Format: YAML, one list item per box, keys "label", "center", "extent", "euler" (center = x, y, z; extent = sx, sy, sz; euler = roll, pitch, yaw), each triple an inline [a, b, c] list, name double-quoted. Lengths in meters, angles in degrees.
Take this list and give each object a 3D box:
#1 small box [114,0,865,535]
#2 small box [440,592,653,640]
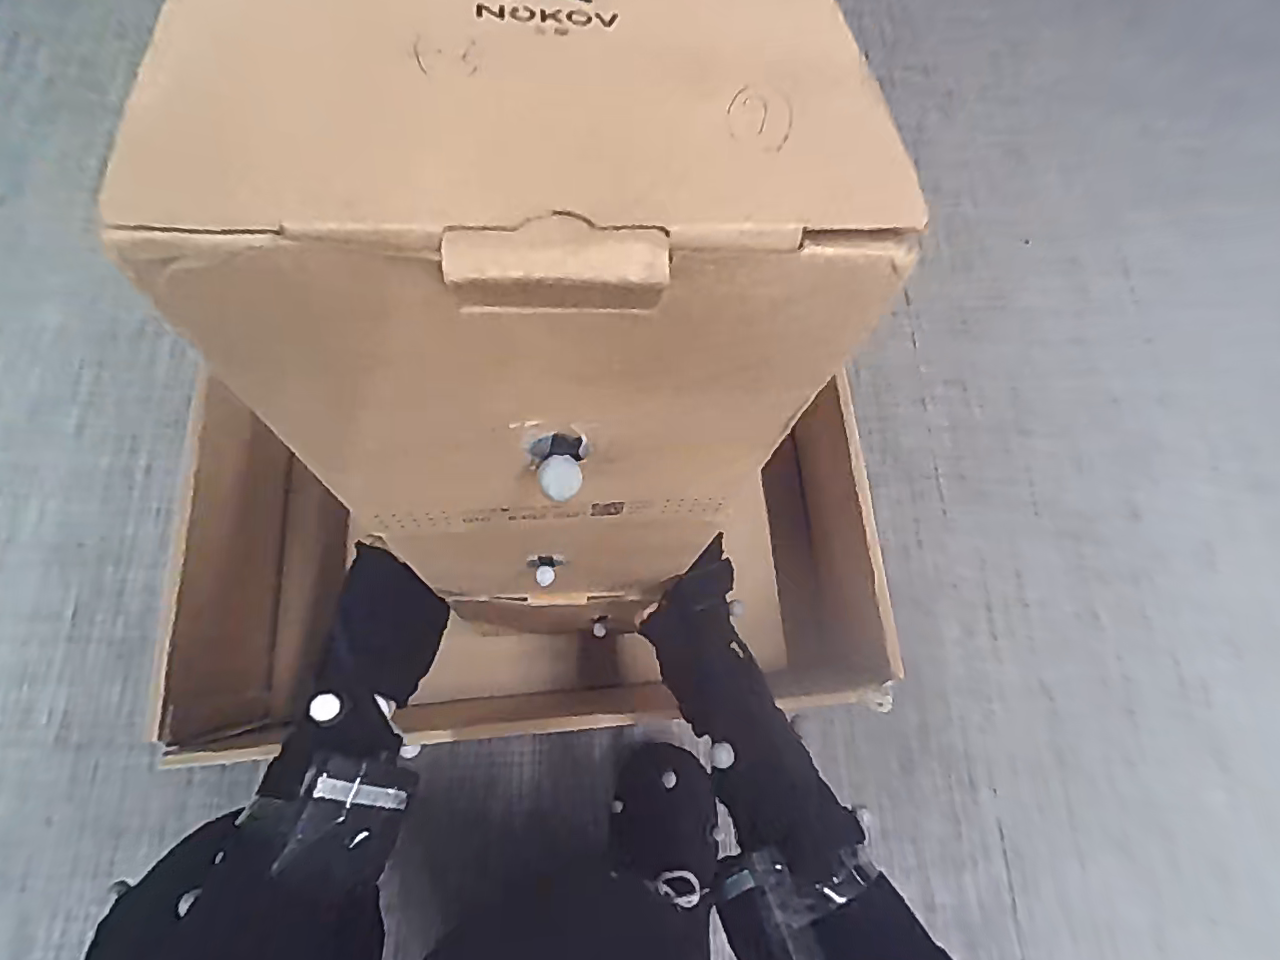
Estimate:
- label: "small box"
  center: [-0.041, -0.080, 0.223]
  extent: [0.168, 0.176, 0.179]
  euler: [-2, 66, -9]
- label: "small box"
  center: [-0.081, 0.055, 0.517]
  extent: [0.168, 0.176, 0.179]
  euler: [1, 65, -8]
